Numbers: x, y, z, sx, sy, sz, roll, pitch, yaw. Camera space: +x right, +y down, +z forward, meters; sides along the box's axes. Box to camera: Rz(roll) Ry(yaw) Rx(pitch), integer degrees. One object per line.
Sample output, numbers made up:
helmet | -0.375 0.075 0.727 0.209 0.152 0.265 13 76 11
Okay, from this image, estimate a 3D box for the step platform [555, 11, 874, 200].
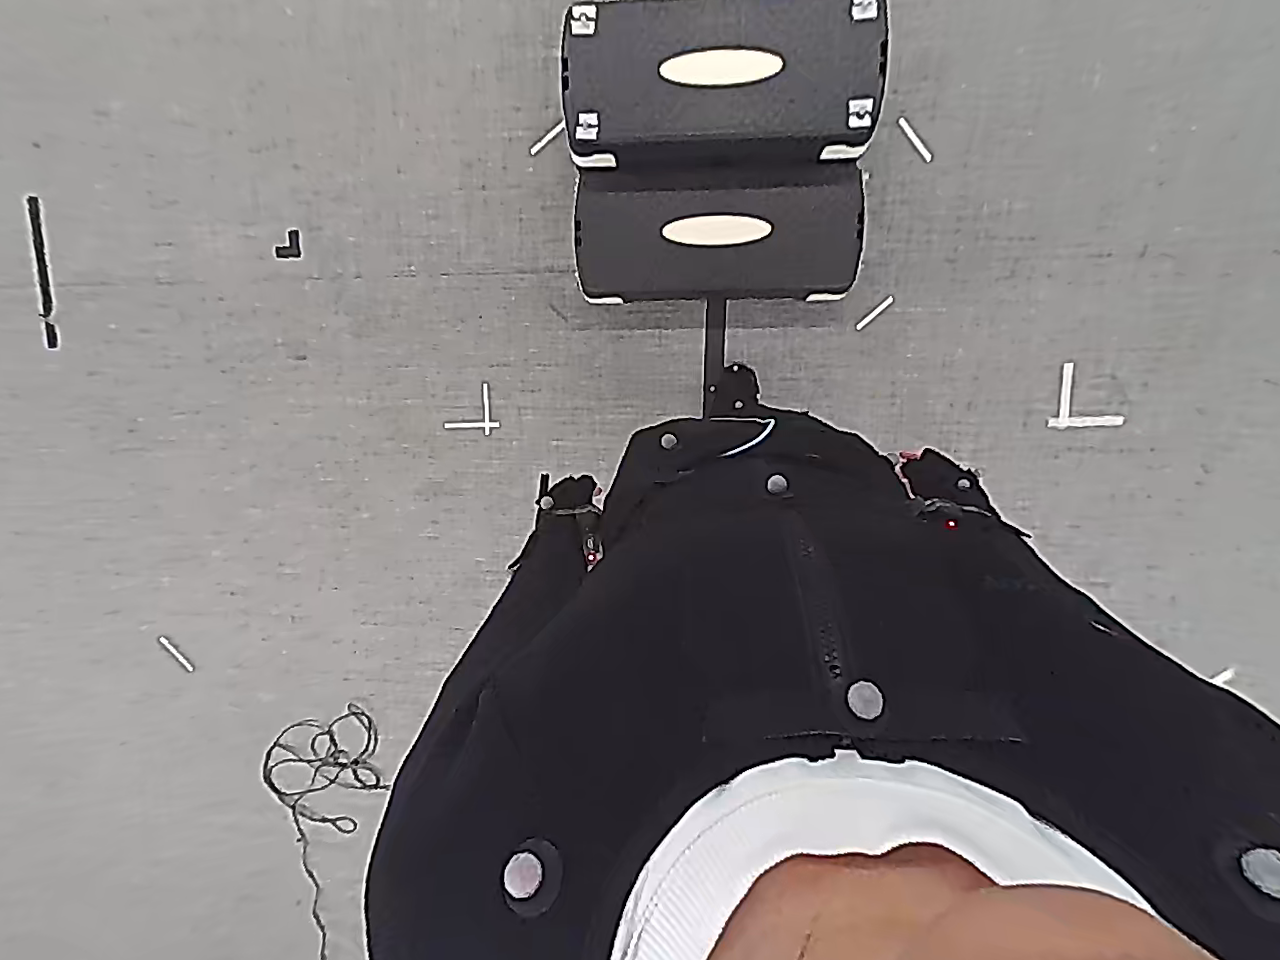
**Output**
step platform | 0.155 -0.823 1.211 0.684 0.204 0.286 -1 100 4
